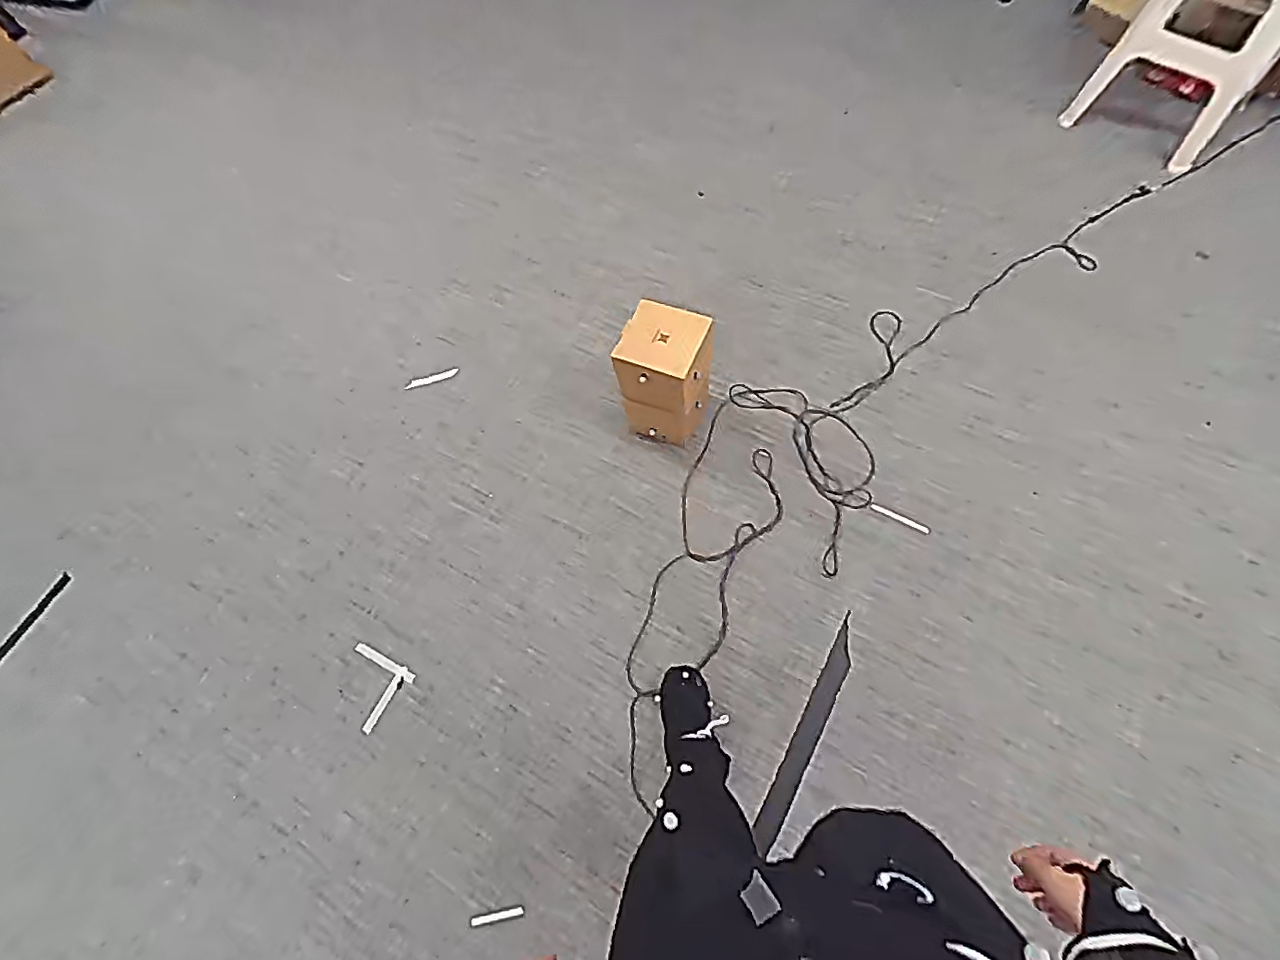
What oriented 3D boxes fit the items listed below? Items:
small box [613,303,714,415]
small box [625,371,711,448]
[{"bbox_3d":[0.061,-0.270,1.243,0.179,0.176,0.168,20,72,16],"label":"small box"},{"bbox_3d":[0.076,-0.209,1.393,0.168,0.176,0.179,19,72,15],"label":"small box"}]
